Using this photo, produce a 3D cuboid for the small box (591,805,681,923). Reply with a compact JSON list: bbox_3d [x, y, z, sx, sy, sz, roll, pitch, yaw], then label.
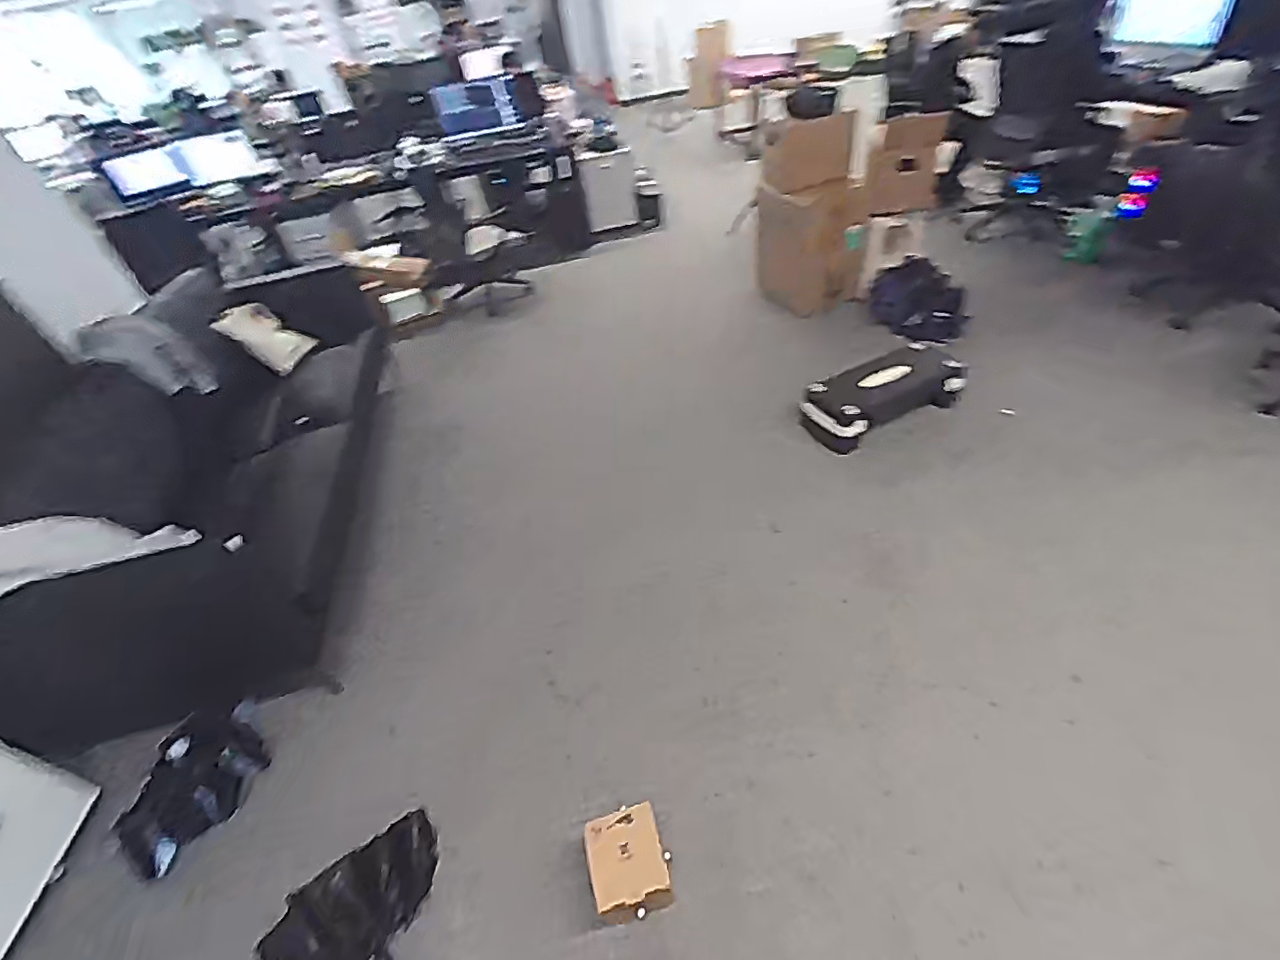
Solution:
[{"bbox_3d":[-0.007,0.901,1.262,0.168,0.176,0.179,-15,43,-6],"label":"small box"}]
